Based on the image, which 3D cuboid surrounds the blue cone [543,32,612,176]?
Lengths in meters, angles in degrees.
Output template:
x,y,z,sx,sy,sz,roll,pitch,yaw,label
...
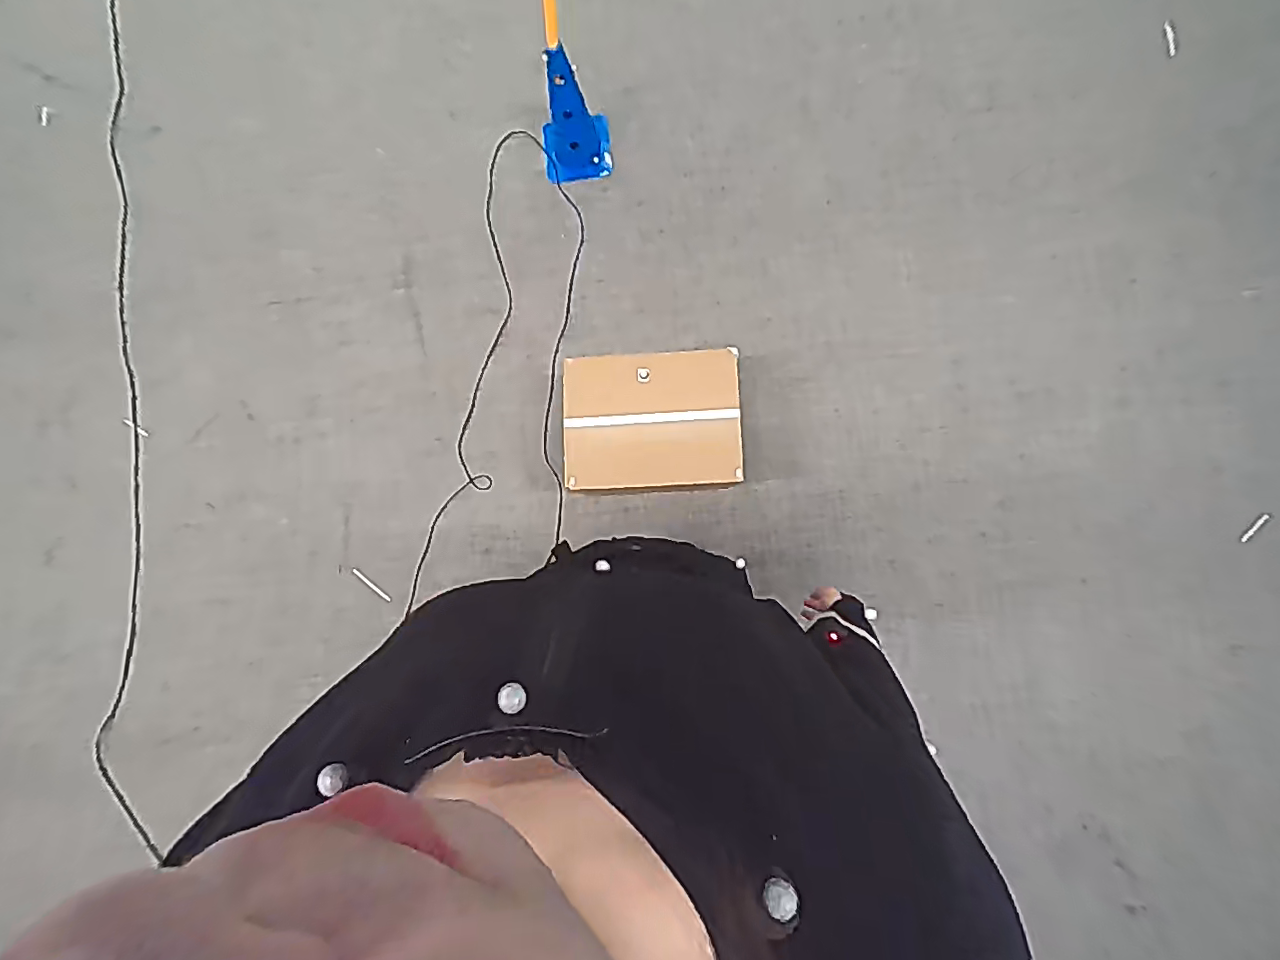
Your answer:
x,y,z,sx,sy,sz,roll,pitch,yaw,label
-0.192,-1.016,1.438,0.193,0.380,0.192,-9,85,1,blue cone
